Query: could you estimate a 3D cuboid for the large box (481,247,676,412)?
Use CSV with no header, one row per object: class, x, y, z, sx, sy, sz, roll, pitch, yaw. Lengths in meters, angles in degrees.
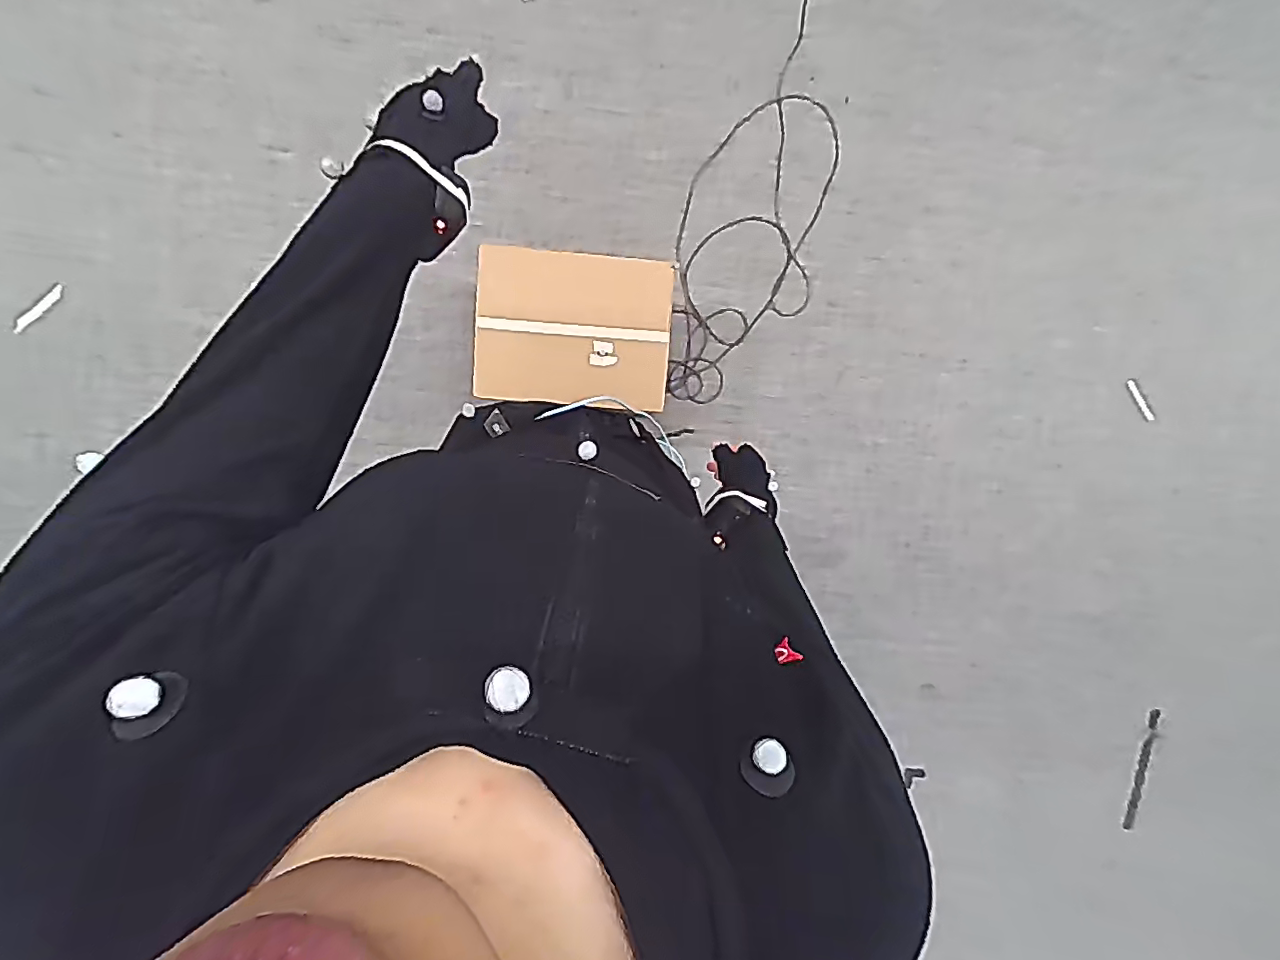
large box,-0.142,-0.332,1.288,0.408,0.320,0.320,4,96,-4
